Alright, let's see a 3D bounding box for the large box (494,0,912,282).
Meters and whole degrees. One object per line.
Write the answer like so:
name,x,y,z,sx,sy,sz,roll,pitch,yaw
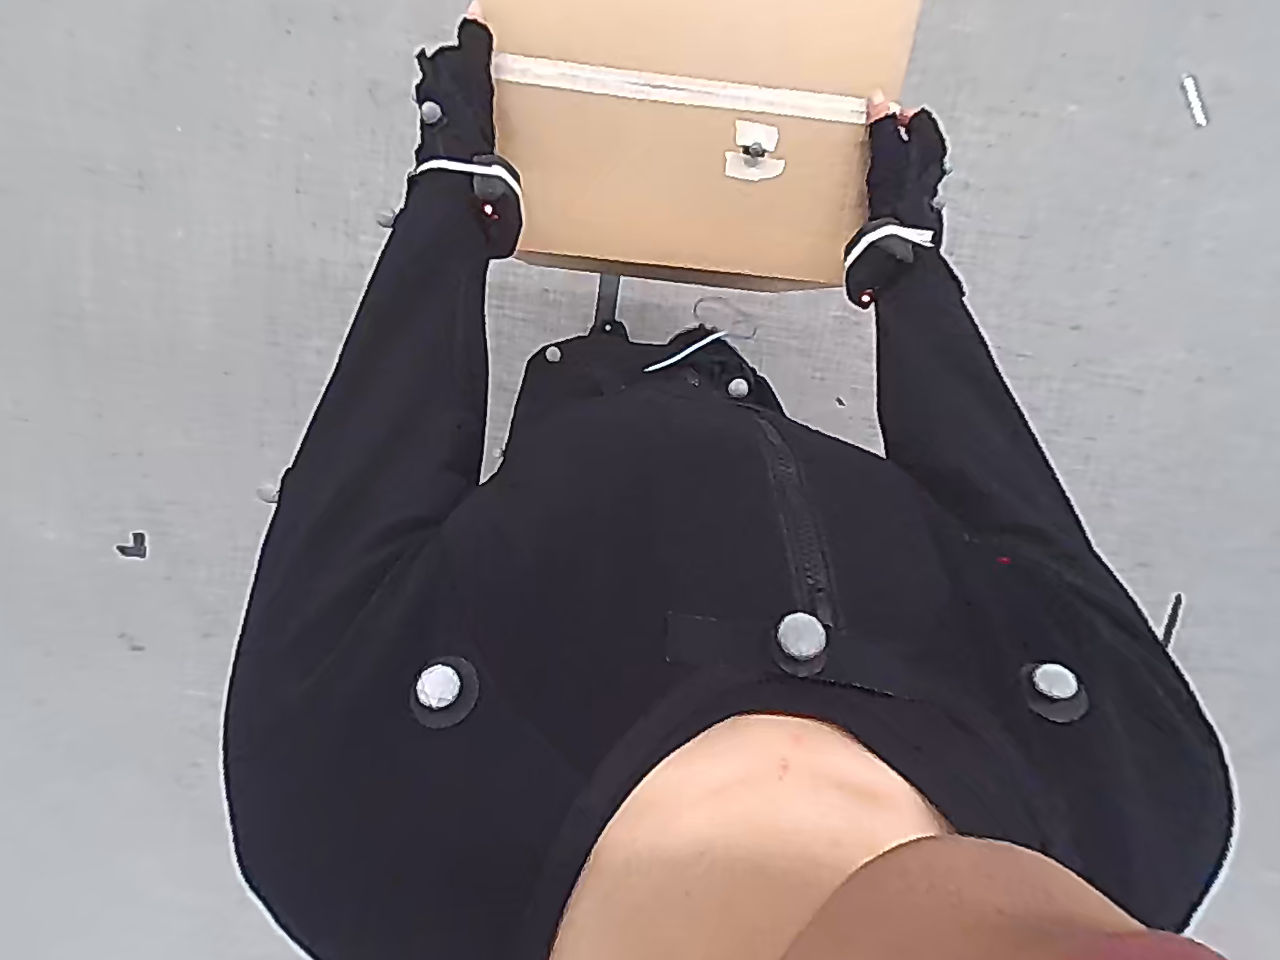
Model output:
large box,0.047,-0.431,0.676,0.408,0.320,0.320,5,109,-5
